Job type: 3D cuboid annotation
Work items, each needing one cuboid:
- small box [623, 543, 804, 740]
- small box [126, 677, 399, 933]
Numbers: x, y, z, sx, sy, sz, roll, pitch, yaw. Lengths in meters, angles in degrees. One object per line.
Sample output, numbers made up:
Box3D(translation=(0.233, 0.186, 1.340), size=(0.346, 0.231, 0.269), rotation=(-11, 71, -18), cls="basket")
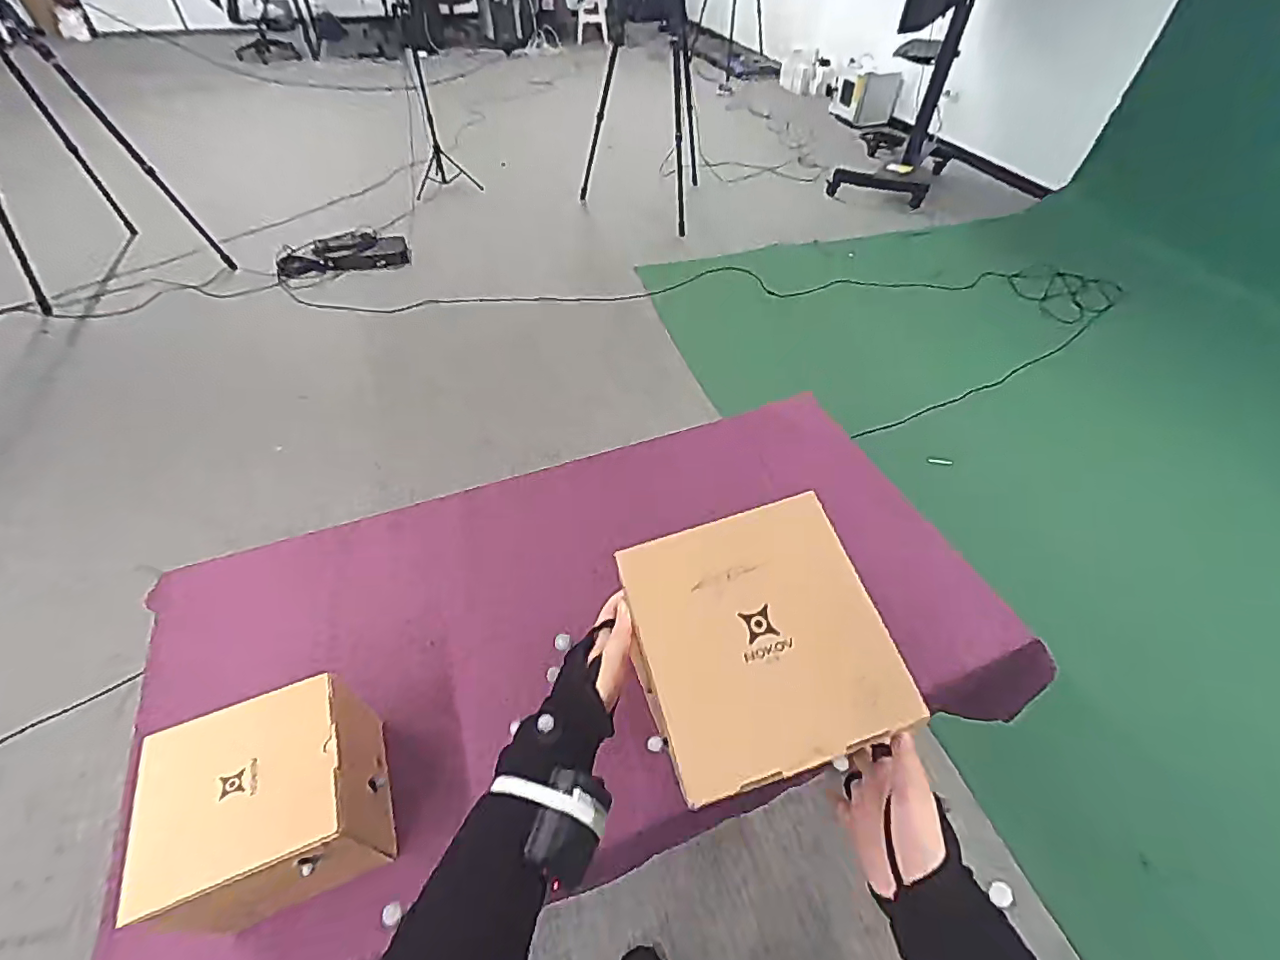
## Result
Box3D(translation=(0.084, 0.216, 0.706), size=(0.168, 0.176, 0.179), rotation=(-15, 50, -14), cls="small box")
Box3D(translation=(-0.385, 0.351, 0.584), size=(0.179, 0.176, 0.168), rotation=(-18, 50, -17), cls="small box")
